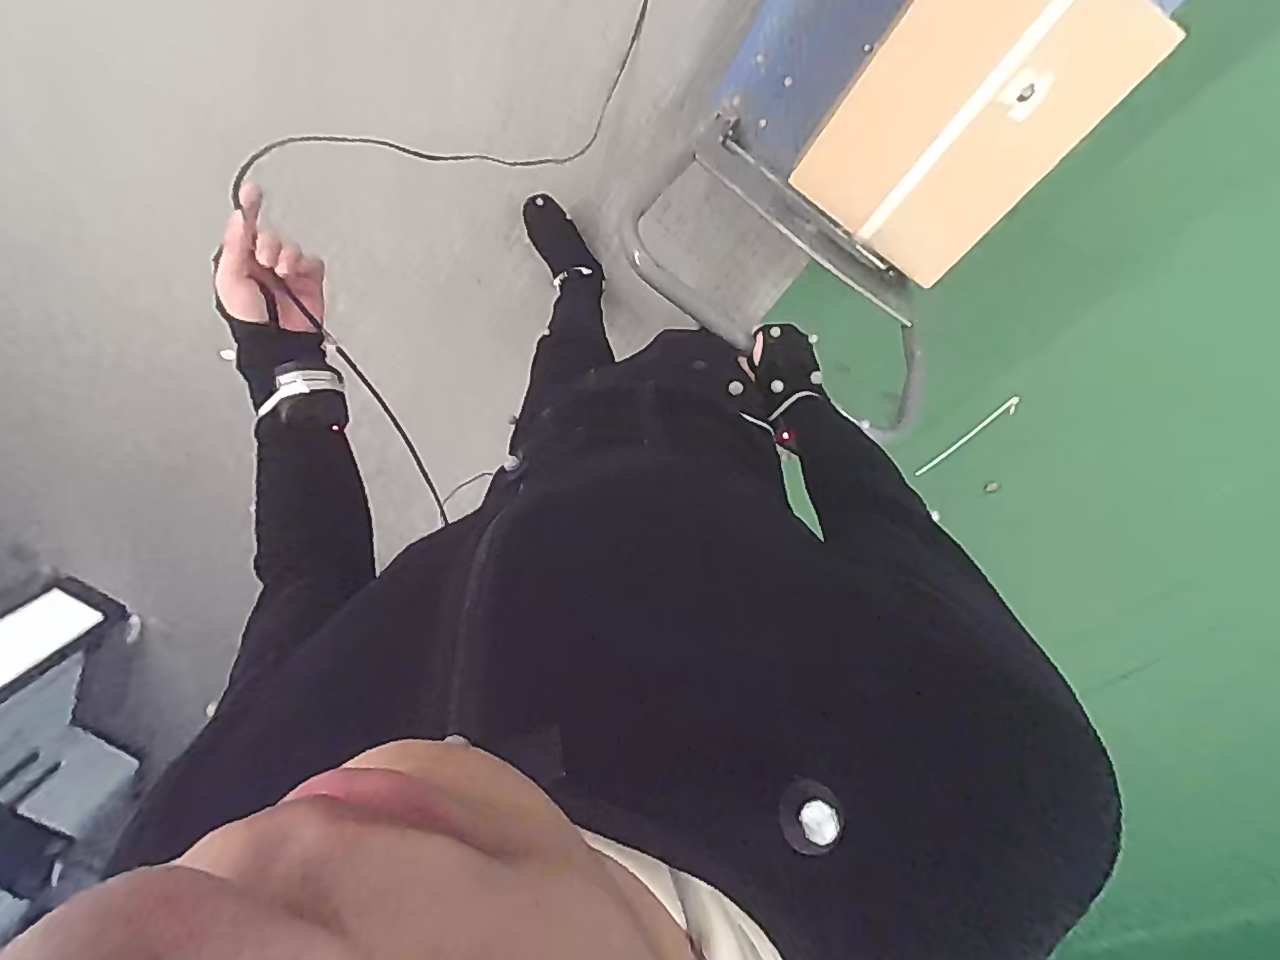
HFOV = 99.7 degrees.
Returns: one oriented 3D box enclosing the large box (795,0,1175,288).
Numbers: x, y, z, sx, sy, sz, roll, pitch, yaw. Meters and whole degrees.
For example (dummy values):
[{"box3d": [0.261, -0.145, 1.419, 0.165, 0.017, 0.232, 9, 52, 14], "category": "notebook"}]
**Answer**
[{"box3d": [0.519, -0.621, 0.921, 0.320, 0.320, 0.408, 34, 129, -8], "category": "large box"}]
